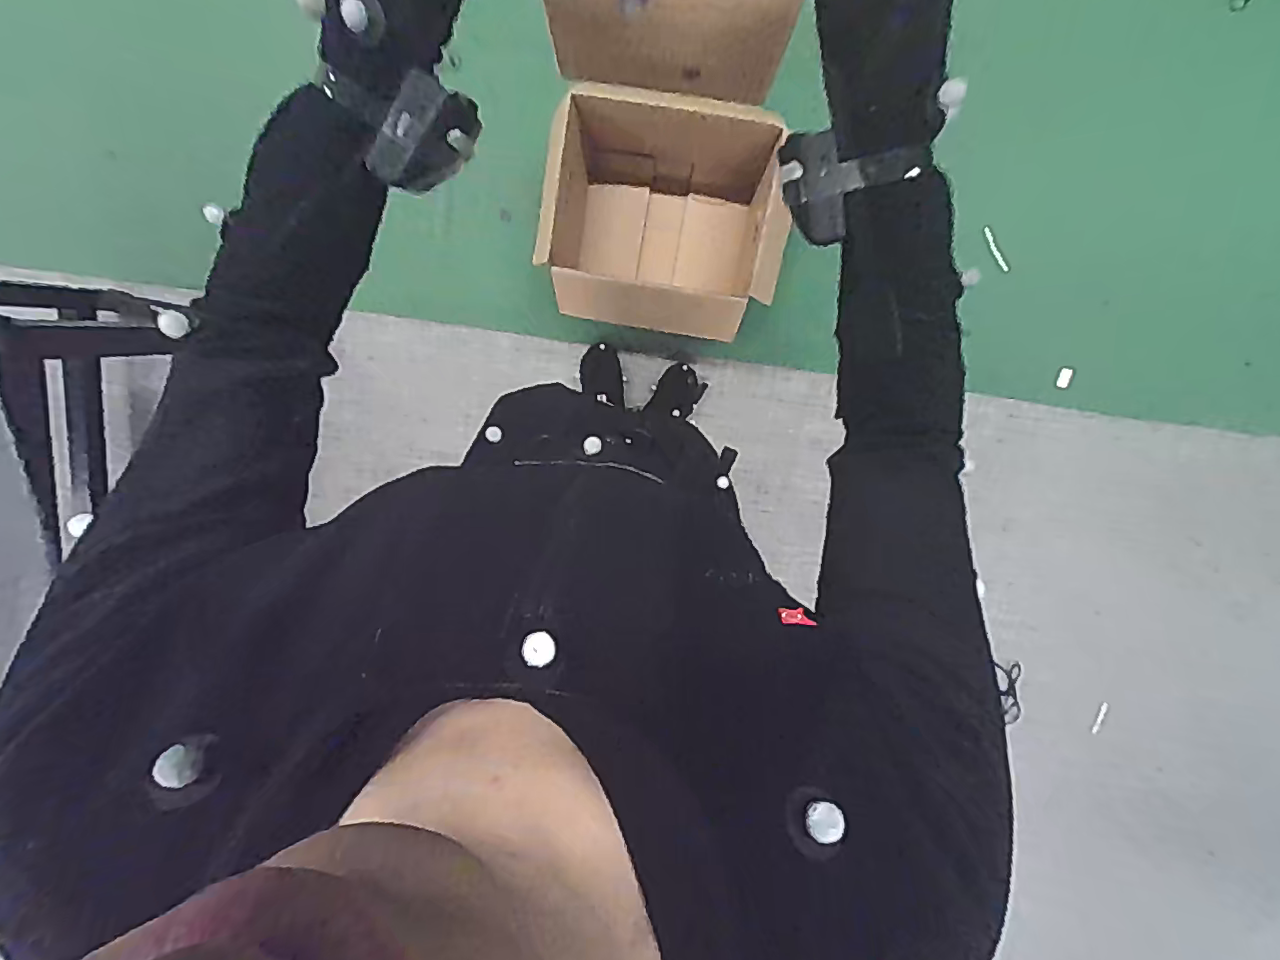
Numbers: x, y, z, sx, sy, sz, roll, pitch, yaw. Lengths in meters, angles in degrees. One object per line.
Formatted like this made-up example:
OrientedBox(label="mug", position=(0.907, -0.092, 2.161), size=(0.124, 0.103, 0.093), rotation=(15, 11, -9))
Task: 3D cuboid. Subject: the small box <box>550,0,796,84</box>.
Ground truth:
OrientedBox(label="small box", position=(0.028, -0.385, 0.325), size=(0.168, 0.176, 0.179), rotation=(7, 93, -1))
